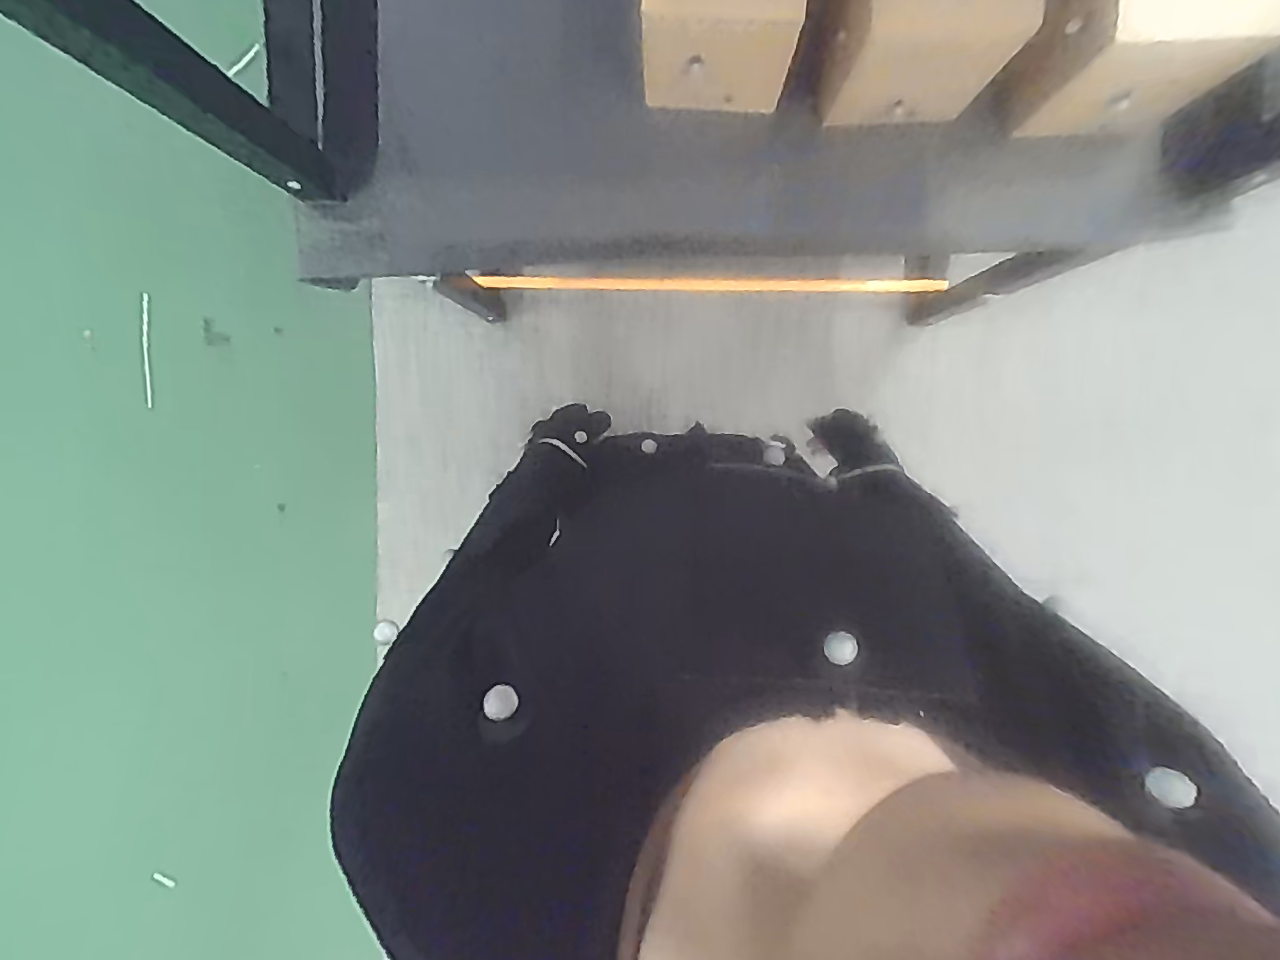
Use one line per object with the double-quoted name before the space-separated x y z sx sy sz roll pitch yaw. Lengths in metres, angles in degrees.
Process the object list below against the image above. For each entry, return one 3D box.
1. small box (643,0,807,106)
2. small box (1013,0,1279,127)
"small box" 0.097 -0.561 0.610 0.168 0.176 0.179 5 96 2
"small box" 0.543 -0.515 0.589 0.168 0.176 0.179 0 95 3
